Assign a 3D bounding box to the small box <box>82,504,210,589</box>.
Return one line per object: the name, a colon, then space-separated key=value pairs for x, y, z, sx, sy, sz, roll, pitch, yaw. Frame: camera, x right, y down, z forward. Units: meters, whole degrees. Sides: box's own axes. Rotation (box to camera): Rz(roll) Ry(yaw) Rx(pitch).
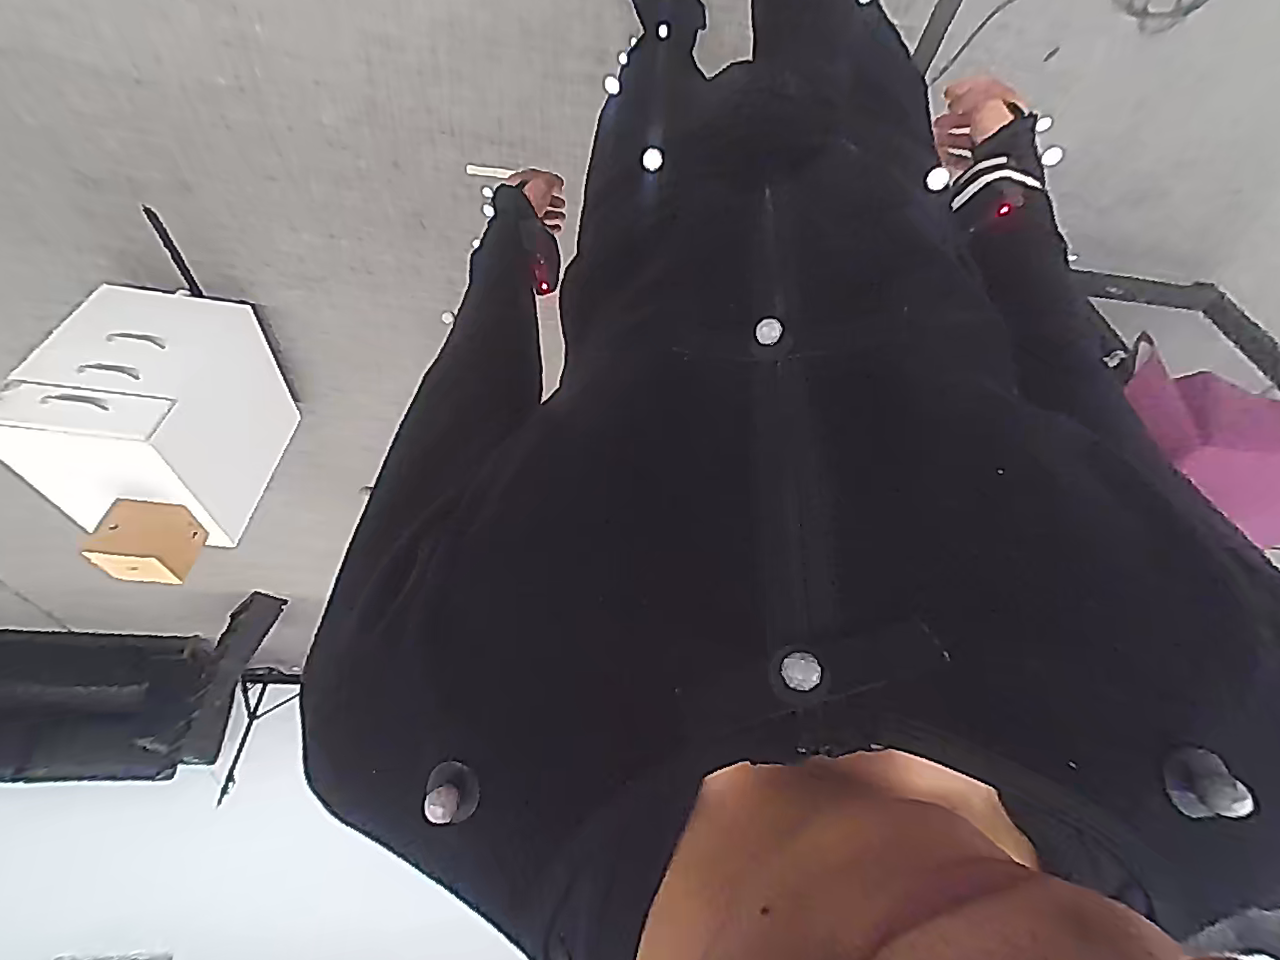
small box: x=-1.359 y=0.183 z=1.504 sx=0.179 sy=0.176 sz=0.168 roll=7 pitch=143 yaw=-9
